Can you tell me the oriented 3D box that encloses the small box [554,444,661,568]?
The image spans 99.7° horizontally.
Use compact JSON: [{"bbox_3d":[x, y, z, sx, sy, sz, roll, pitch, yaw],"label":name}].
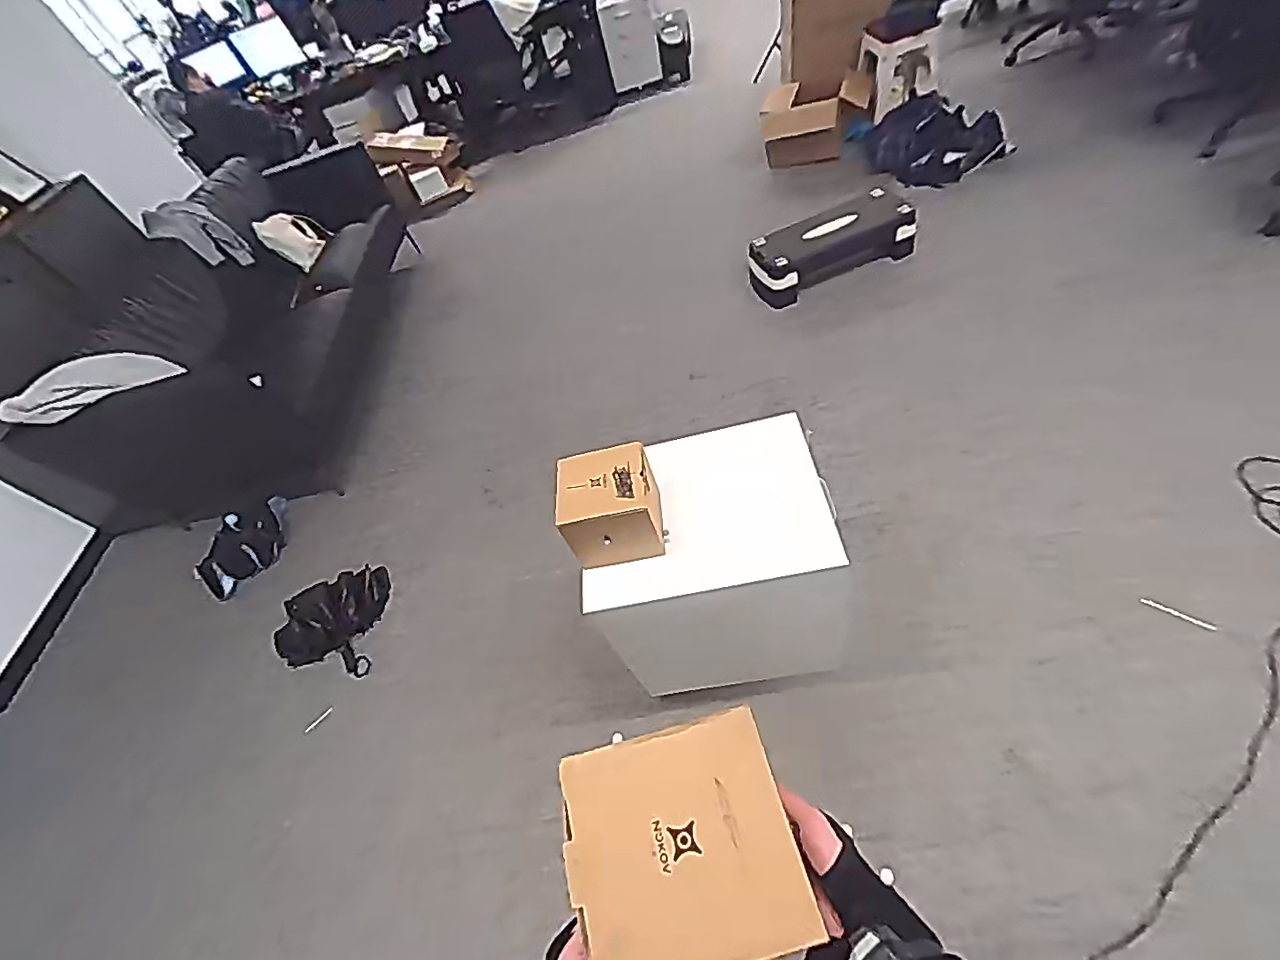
[{"bbox_3d":[-0.058,0.056,1.084,0.179,0.176,0.168,-12,50,9],"label":"small box"}]
